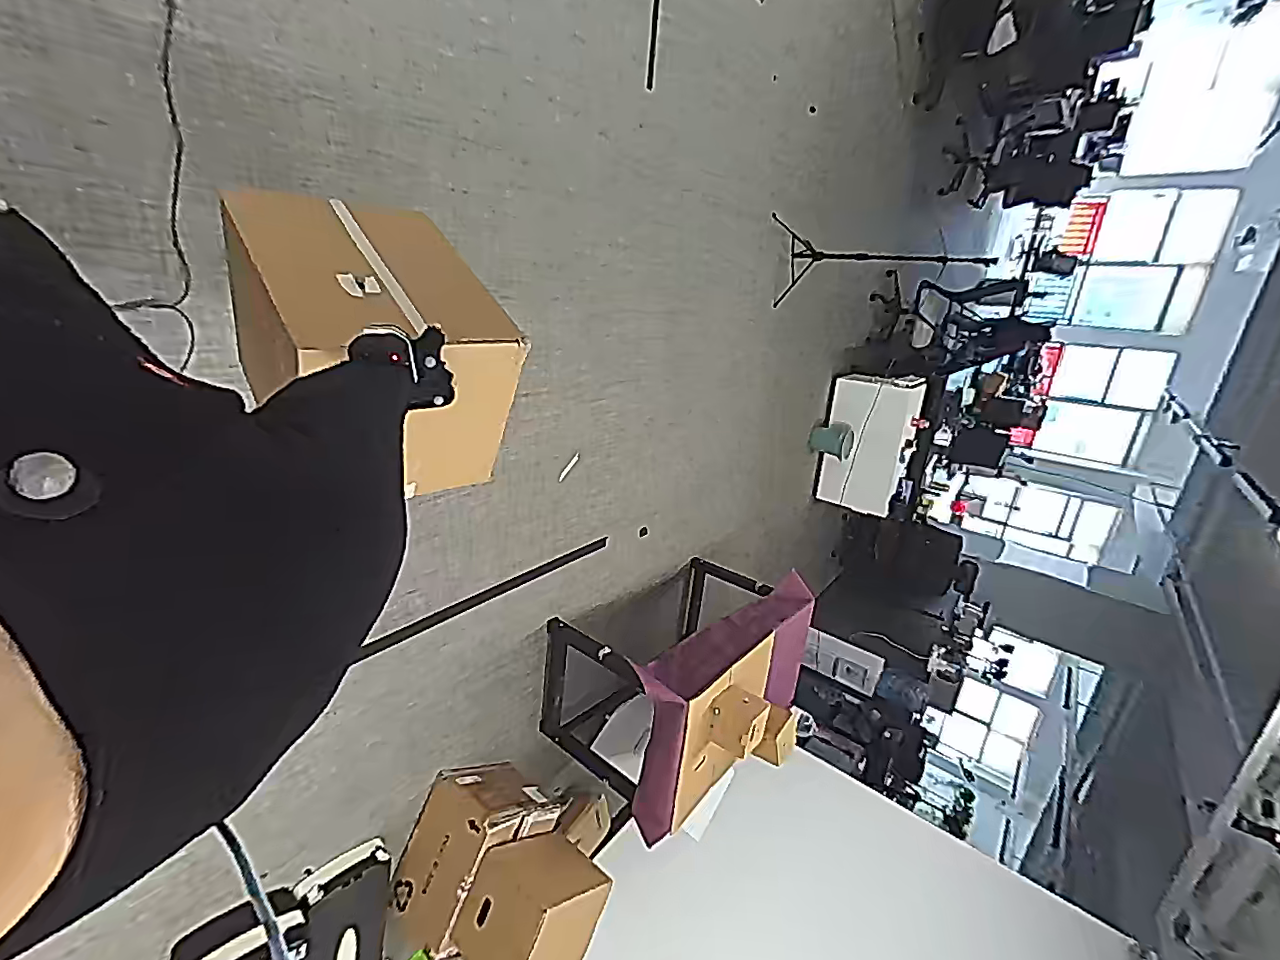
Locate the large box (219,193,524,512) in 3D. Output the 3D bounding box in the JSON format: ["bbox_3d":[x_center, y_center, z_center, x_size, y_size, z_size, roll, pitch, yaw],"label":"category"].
[{"bbox_3d":[-0.462,-0.216,0.918,0.320,0.408,0.320,-16,148,-41],"label":"large box"}]
